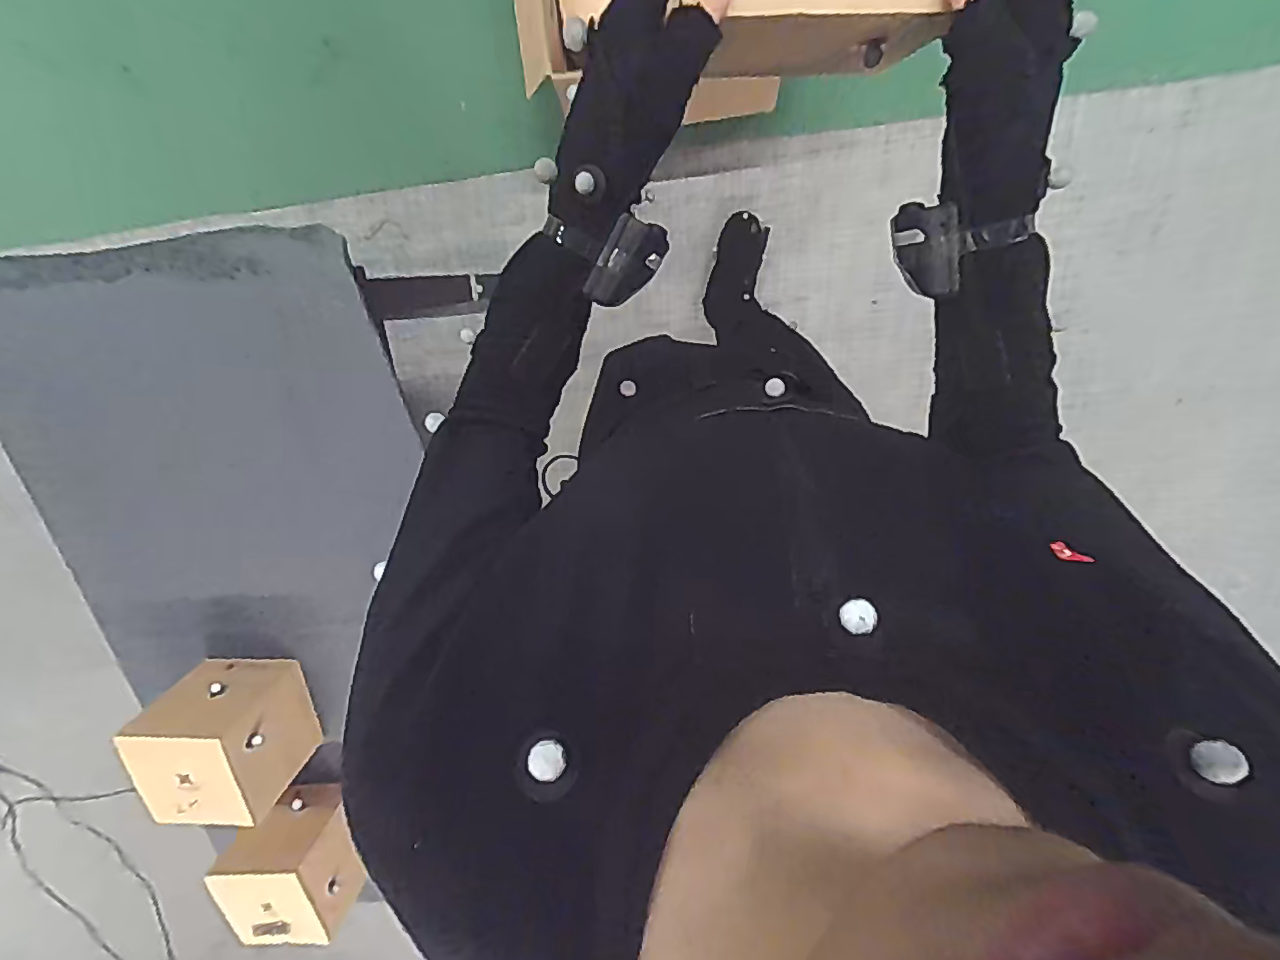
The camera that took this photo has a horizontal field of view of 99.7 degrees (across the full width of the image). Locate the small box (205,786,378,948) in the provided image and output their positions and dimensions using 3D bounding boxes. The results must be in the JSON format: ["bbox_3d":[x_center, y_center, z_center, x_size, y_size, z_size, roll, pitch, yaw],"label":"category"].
[{"bbox_3d":[-0.597,0.676,0.955,0.168,0.176,0.179,-6,109,7],"label":"small box"}]

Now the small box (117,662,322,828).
[{"bbox_3d":[-0.647,0.410,0.857,0.168,0.176,0.179,-1,111,6],"label":"small box"}]
